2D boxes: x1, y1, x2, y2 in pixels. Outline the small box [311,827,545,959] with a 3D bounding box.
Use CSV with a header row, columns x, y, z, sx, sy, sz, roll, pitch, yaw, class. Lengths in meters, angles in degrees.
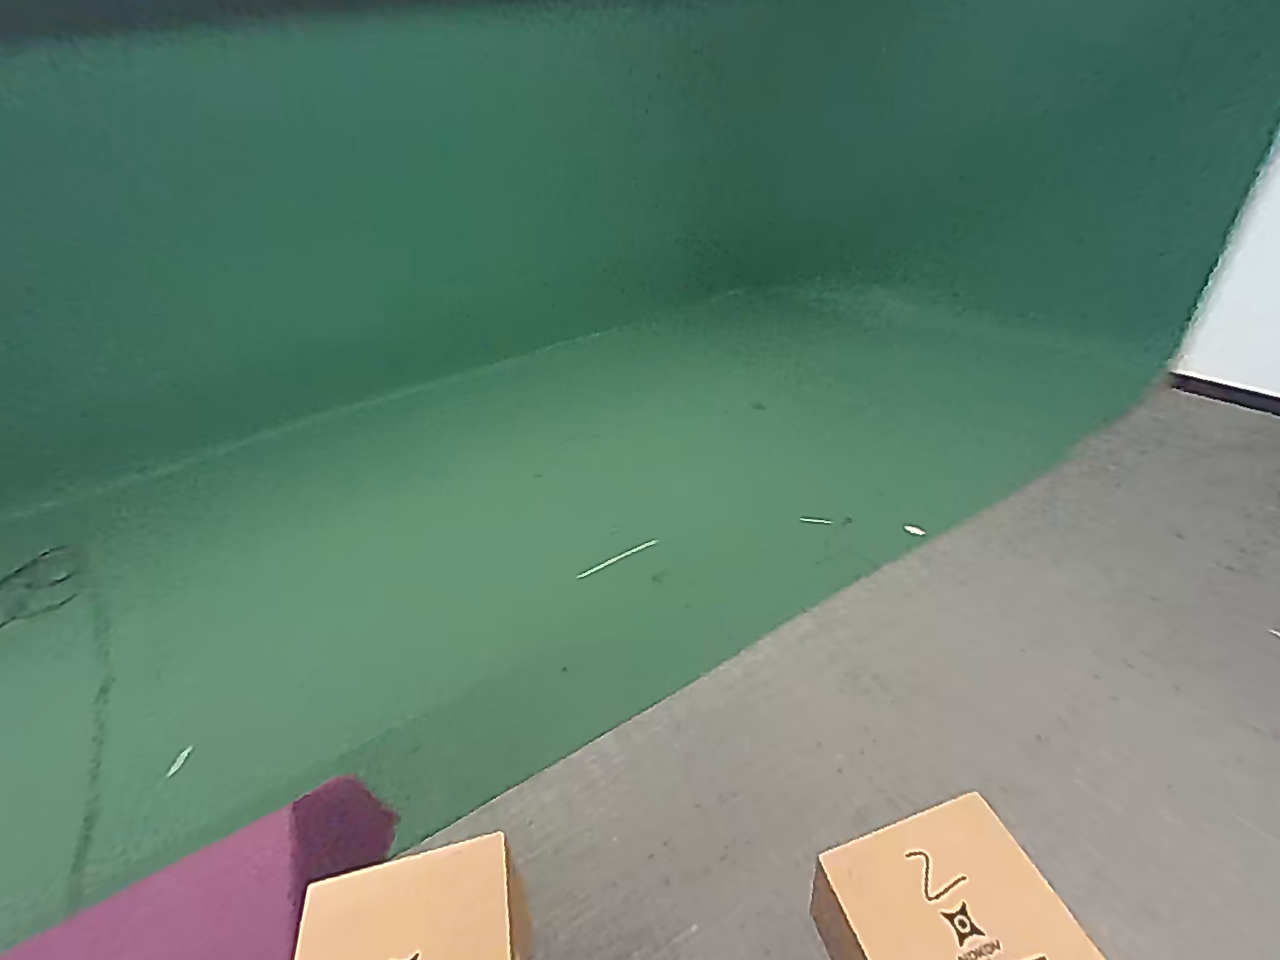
x,y,z,sx,sy,sz,roll,pitch,yaw,class
-0.170,0.439,0.460,0.168,0.176,0.179,-8,40,-10,small box
